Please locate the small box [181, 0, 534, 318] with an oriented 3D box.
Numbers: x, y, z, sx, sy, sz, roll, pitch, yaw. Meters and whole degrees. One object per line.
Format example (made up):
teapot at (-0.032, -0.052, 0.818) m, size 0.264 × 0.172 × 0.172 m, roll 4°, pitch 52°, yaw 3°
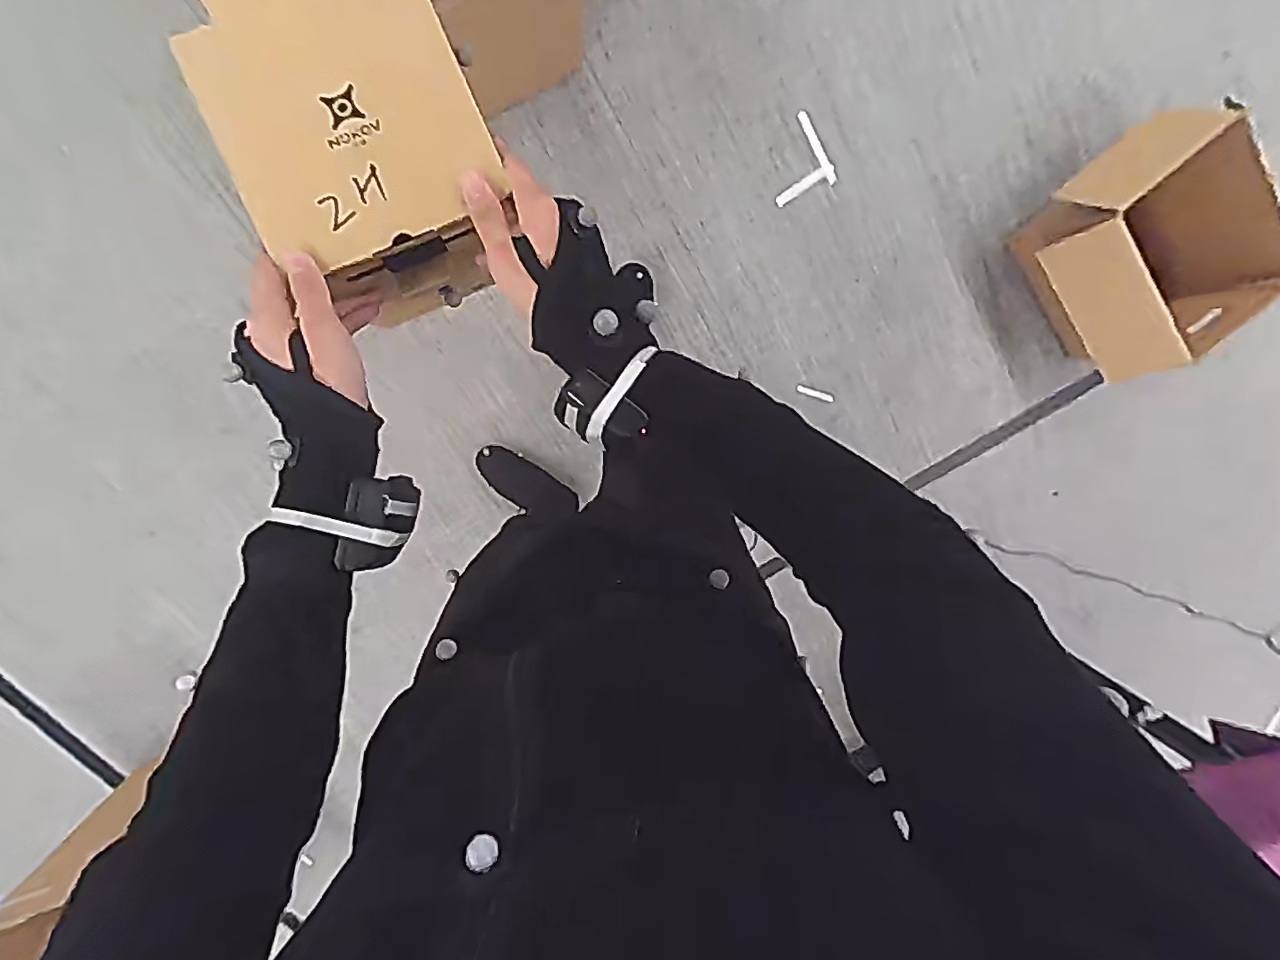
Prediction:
small box at (-0.198, -0.253, 0.441) m, size 0.168 × 0.176 × 0.179 m, roll -23°, pitch 101°, yaw -3°
